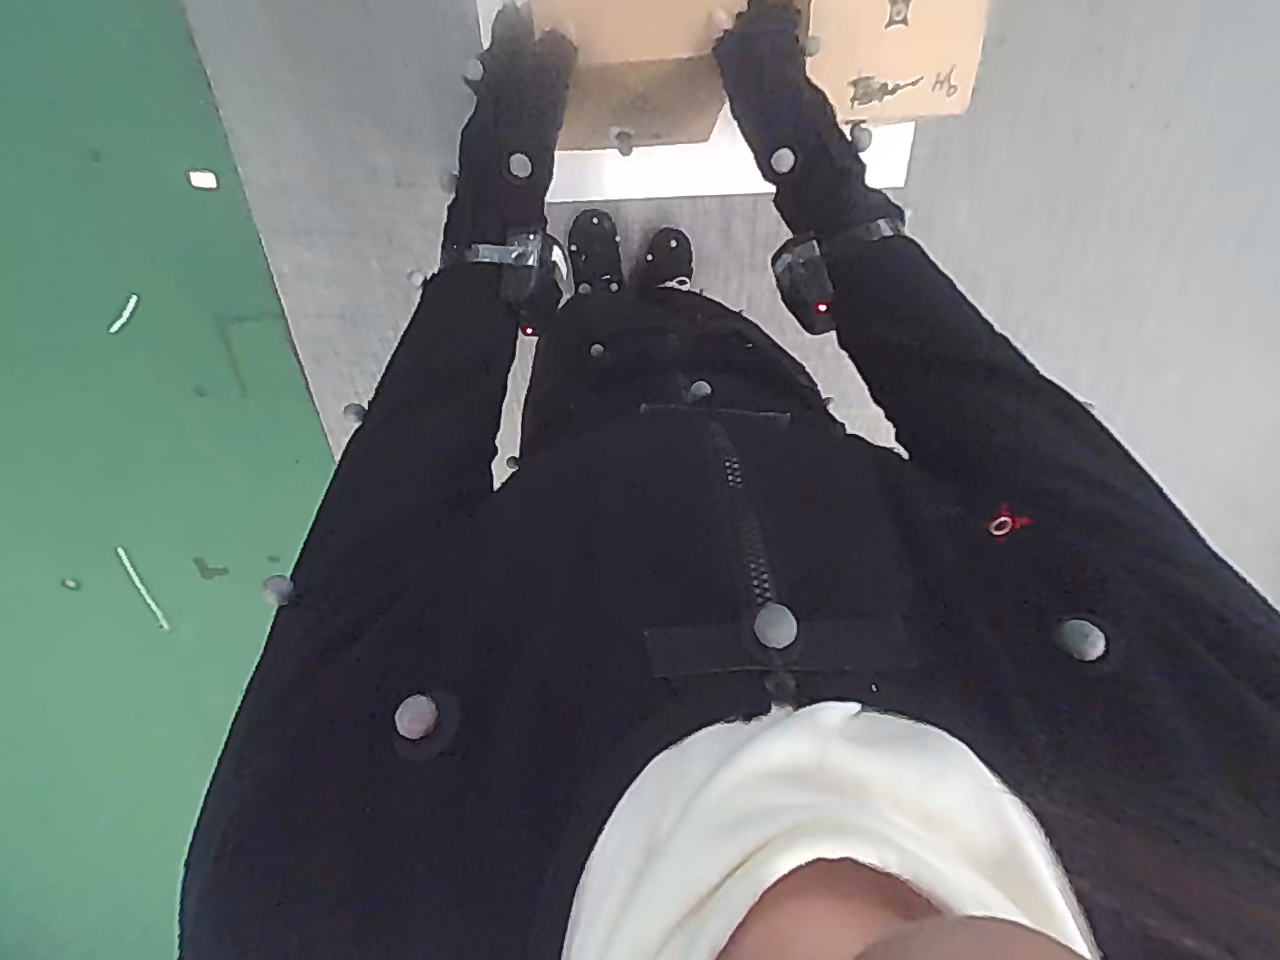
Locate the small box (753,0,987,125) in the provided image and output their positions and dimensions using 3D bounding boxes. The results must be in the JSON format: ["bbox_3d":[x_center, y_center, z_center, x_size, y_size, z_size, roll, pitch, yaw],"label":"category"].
[{"bbox_3d":[0.216,-0.465,0.535,0.168,0.176,0.179,-4,120,-3],"label":"small box"}]

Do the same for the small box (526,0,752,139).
[{"bbox_3d":[-0.011,-0.423,0.456,0.168,0.176,0.179,-7,102,-1],"label":"small box"}]
